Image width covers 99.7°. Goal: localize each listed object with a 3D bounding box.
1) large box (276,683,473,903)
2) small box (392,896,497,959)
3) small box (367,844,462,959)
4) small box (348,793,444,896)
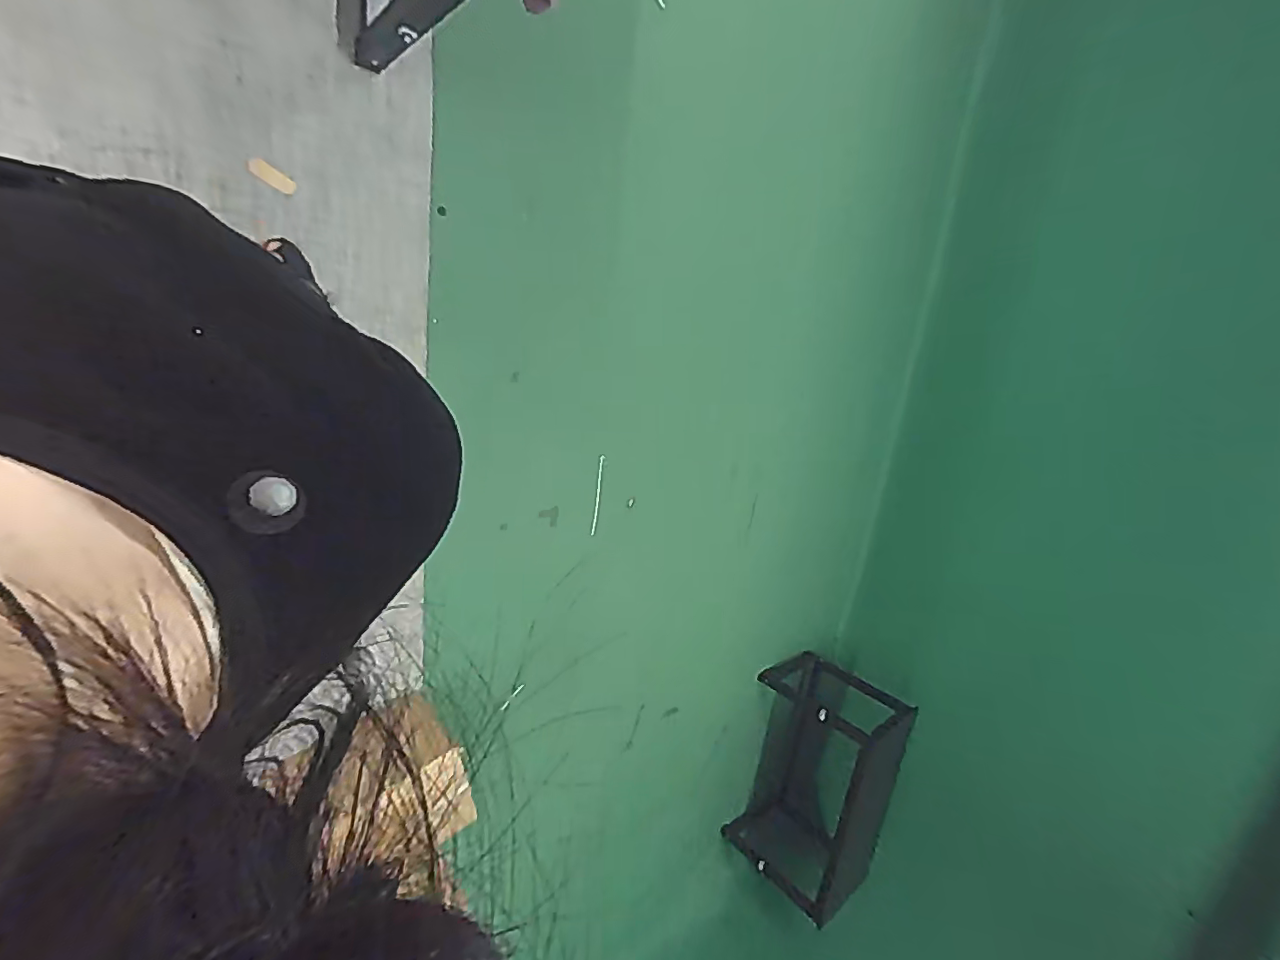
[{"bbox_3d":[-0.774,0.893,1.598,0.408,0.320,0.320,-23,122,-37],"label":"large box"},{"bbox_3d":[-0.422,1.065,1.179,0.168,0.176,0.179,-18,115,-37],"label":"small box"},{"bbox_3d":[-0.533,1.020,1.292,0.168,0.176,0.179,-17,116,-38],"label":"small box"},{"bbox_3d":[-0.633,0.969,1.411,0.179,0.176,0.168,-18,116,-37],"label":"small box"}]
